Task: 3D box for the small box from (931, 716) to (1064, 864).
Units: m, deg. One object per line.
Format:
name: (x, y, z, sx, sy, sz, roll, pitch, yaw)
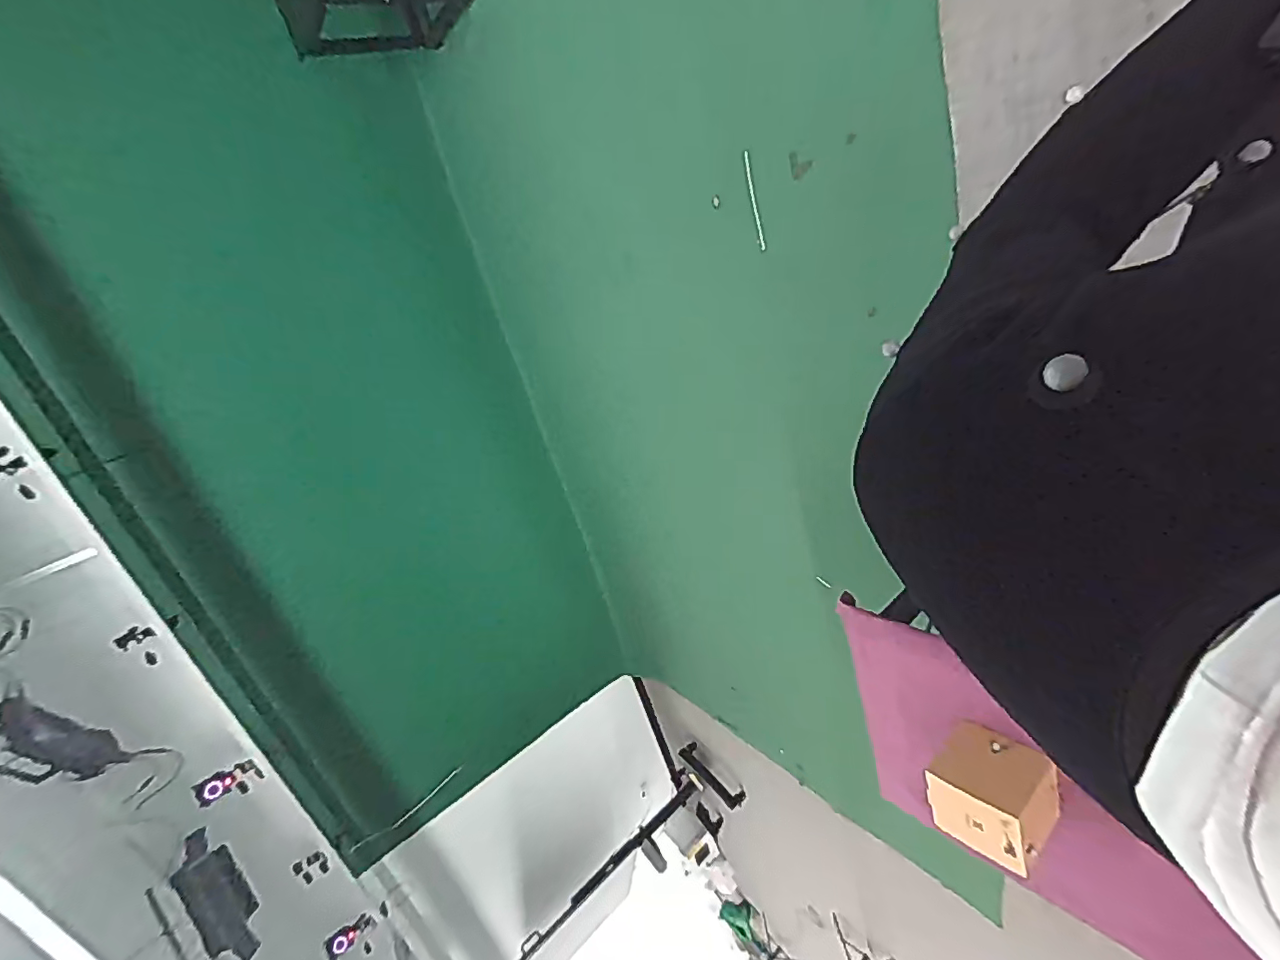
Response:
small box: (0.743, 0.628, 1.124, 0.179, 0.176, 0.168, 11, 126, 55)
